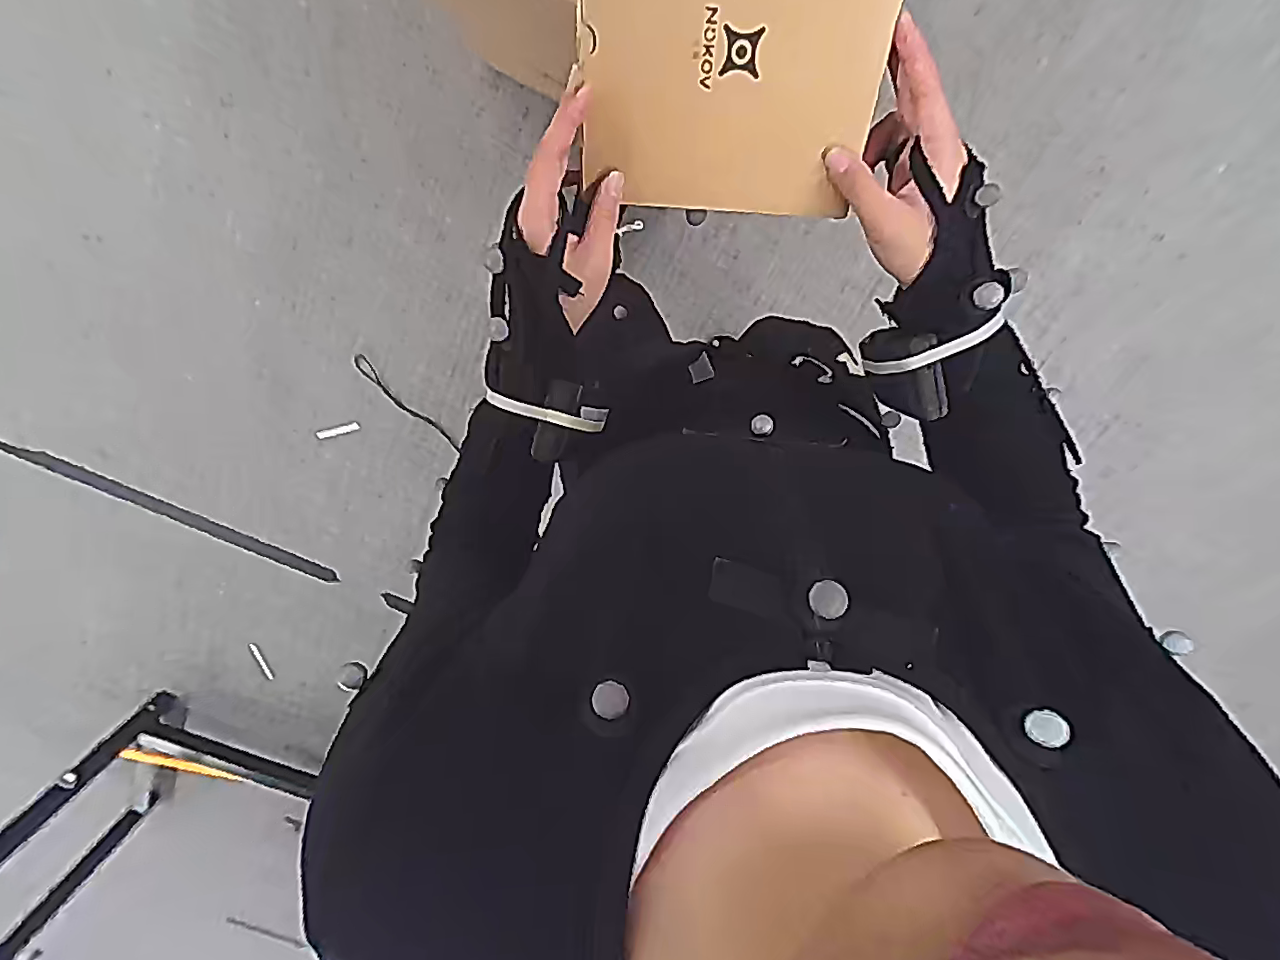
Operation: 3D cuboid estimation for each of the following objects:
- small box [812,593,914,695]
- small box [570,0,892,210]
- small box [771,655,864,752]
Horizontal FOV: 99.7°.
[{"bbox_3d":[0.596,0.440,1.473,0.168,0.176,0.179,25,110,-7],"label":"small box"},{"bbox_3d":[0.049,-0.296,0.364,0.179,0.176,0.168,4,128,-1],"label":"small box"},{"bbox_3d":[0.503,0.635,1.556,0.179,0.176,0.168,23,111,-6],"label":"small box"}]
